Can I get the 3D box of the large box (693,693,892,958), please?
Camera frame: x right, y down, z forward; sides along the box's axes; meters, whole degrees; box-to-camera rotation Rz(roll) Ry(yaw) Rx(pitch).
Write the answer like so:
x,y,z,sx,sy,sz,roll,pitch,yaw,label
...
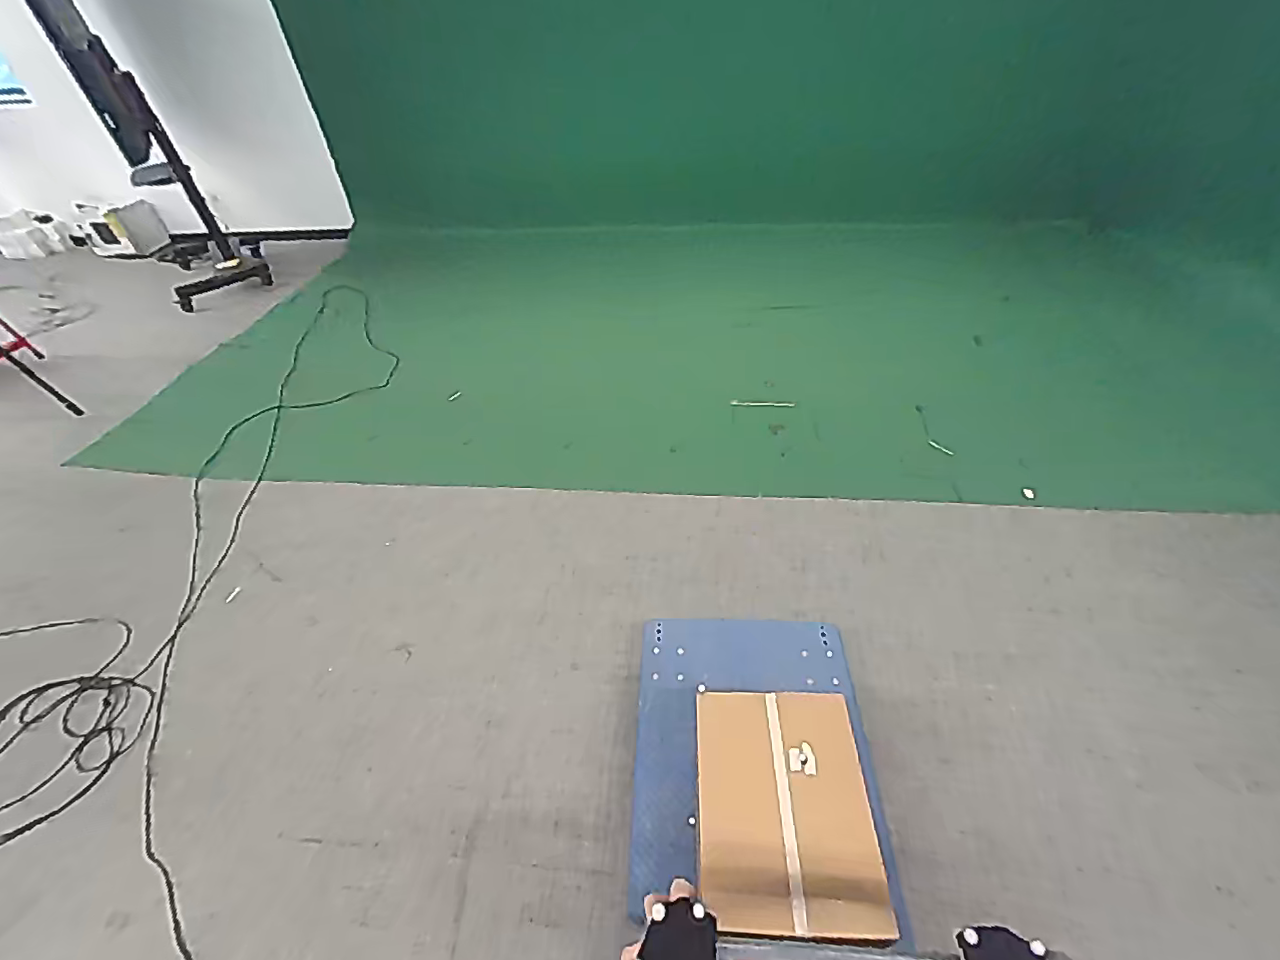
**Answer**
x,y,z,sx,sy,sz,roll,pitch,yaw,label
0.273,0.709,1.123,0.320,0.320,0.408,0,42,4,large box
